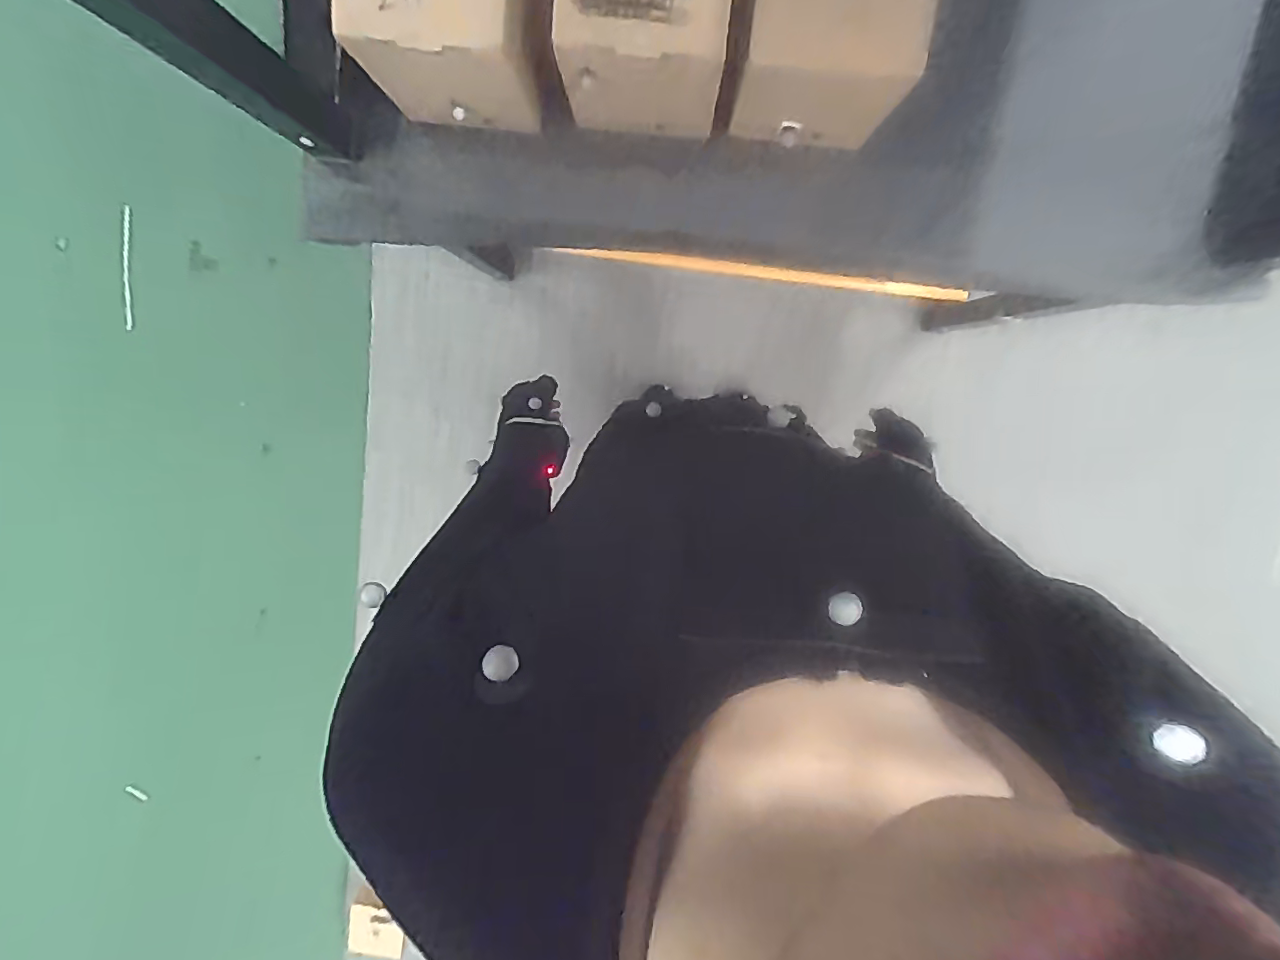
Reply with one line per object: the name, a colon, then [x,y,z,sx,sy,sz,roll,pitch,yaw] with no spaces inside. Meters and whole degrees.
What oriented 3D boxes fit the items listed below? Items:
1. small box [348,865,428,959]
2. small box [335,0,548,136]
small box: [-0.768,1.333,1.663,0.168,0.176,0.179,9,101,0]
small box: [-0.197,-0.506,0.577,0.168,0.176,0.179,5,100,1]
